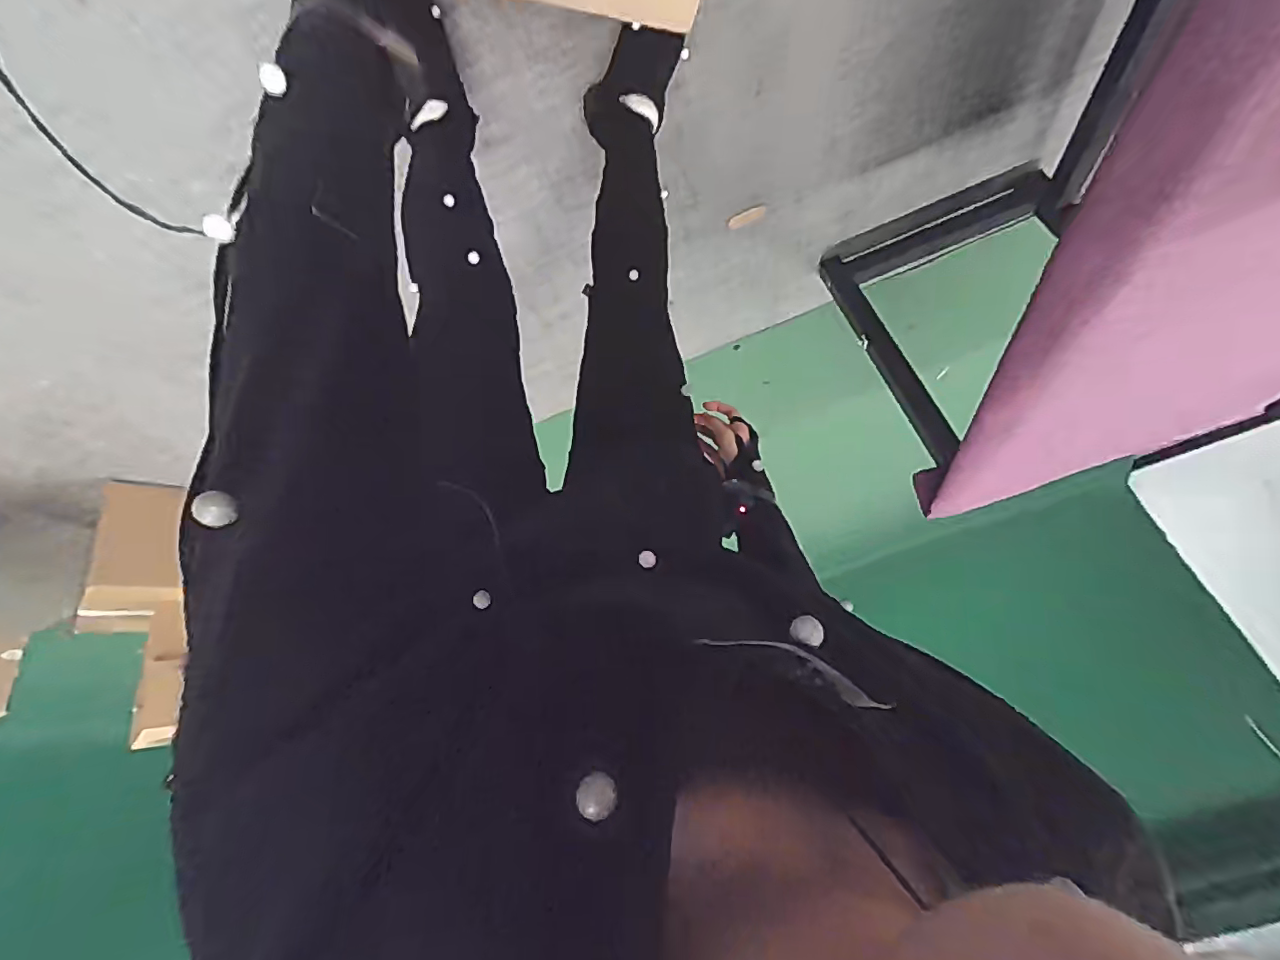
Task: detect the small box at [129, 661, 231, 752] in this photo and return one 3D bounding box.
[{"bbox_3d":[-1.175,0.577,1.389,0.168,0.176,0.179,14,138,-45],"label":"small box"}]

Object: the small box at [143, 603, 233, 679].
[{"bbox_3d":[-1.227,0.445,1.472,0.168,0.176,0.179,10,141,-42],"label":"small box"}]
